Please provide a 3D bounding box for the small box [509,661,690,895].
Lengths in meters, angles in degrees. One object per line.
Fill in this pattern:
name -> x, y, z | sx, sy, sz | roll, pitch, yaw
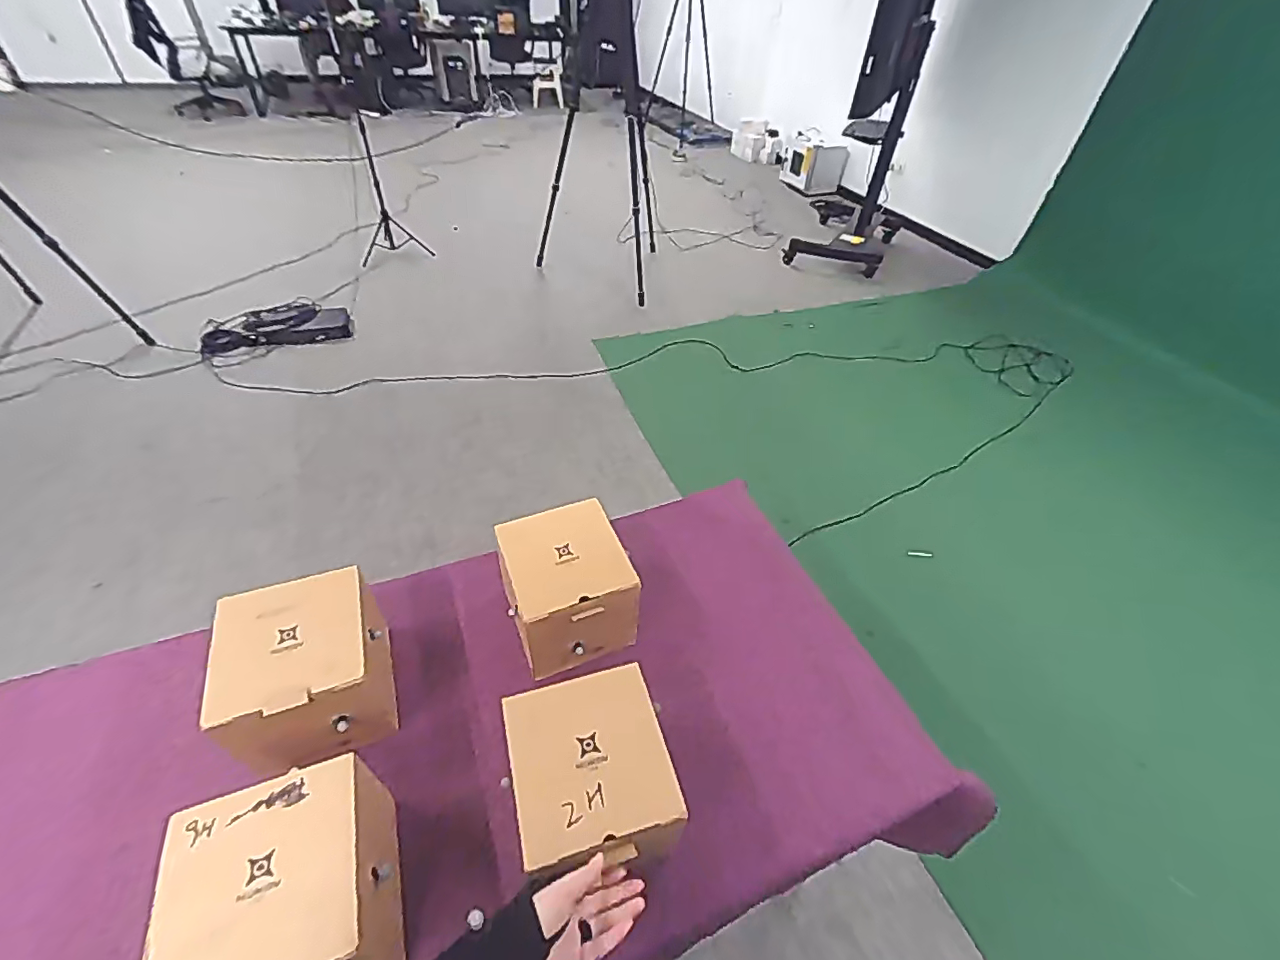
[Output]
small box -> -0.054, 0.349, 0.639 | 0.168, 0.176, 0.179 | -11, 46, -14

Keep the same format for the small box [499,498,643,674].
small box -> -0.108, 0.161, 0.829 | 0.168, 0.176, 0.179 | -16, 49, -19

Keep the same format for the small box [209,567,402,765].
small box -> -0.426, 0.251, 0.717 | 0.168, 0.176, 0.179 | -13, 47, -18

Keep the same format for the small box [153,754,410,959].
small box -> -0.344, 0.420, 0.549 | 0.168, 0.176, 0.179 | -14, 47, -18
